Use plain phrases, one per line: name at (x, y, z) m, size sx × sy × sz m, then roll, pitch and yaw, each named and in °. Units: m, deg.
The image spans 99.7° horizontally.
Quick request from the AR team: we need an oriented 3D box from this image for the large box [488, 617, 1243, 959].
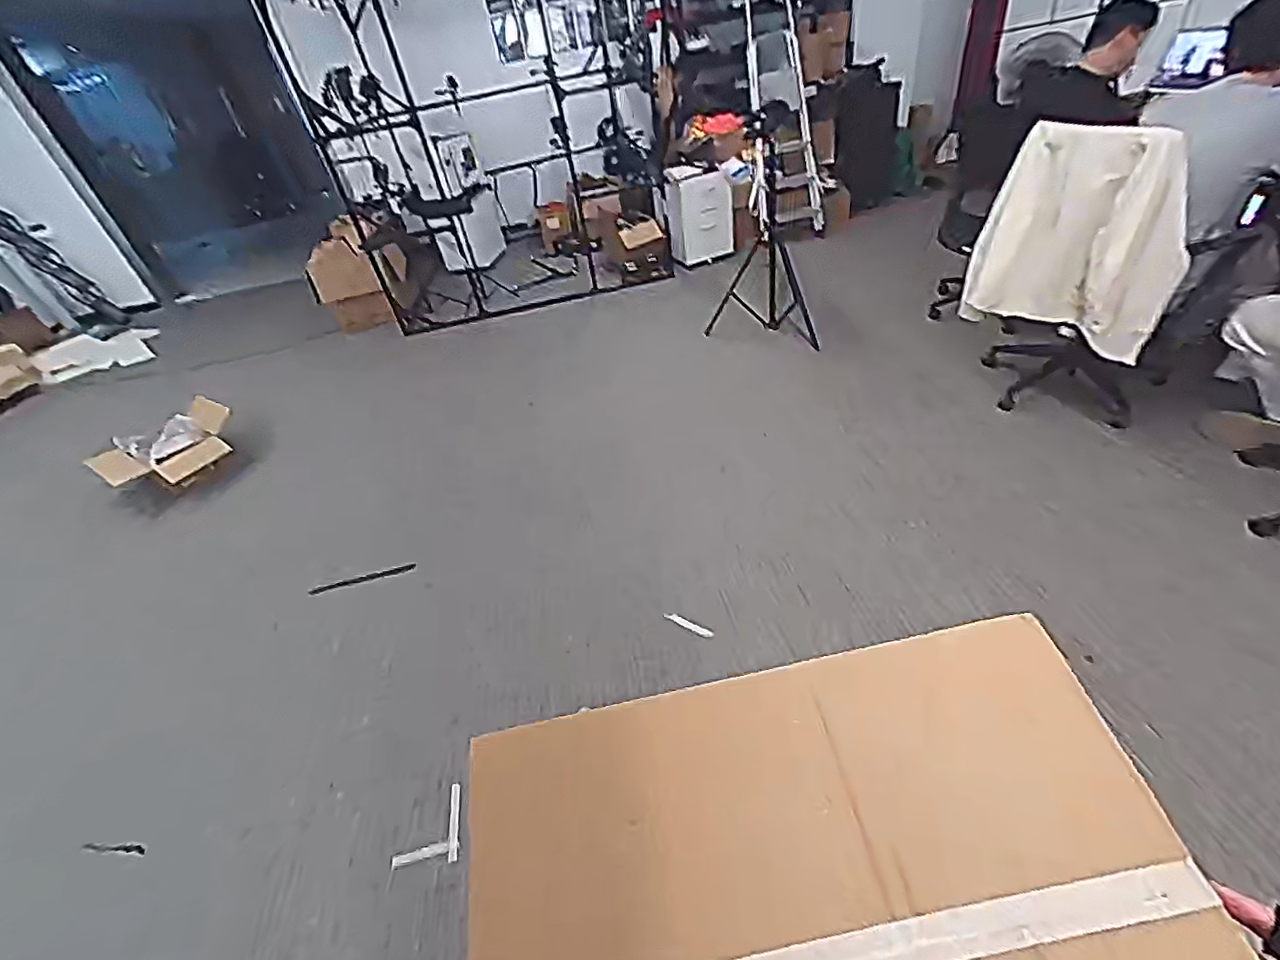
large box at (0.131, 0.350, 0.421) m, size 0.408 × 0.320 × 0.320 m, roll -13°, pitch 55°, yaw 1°
